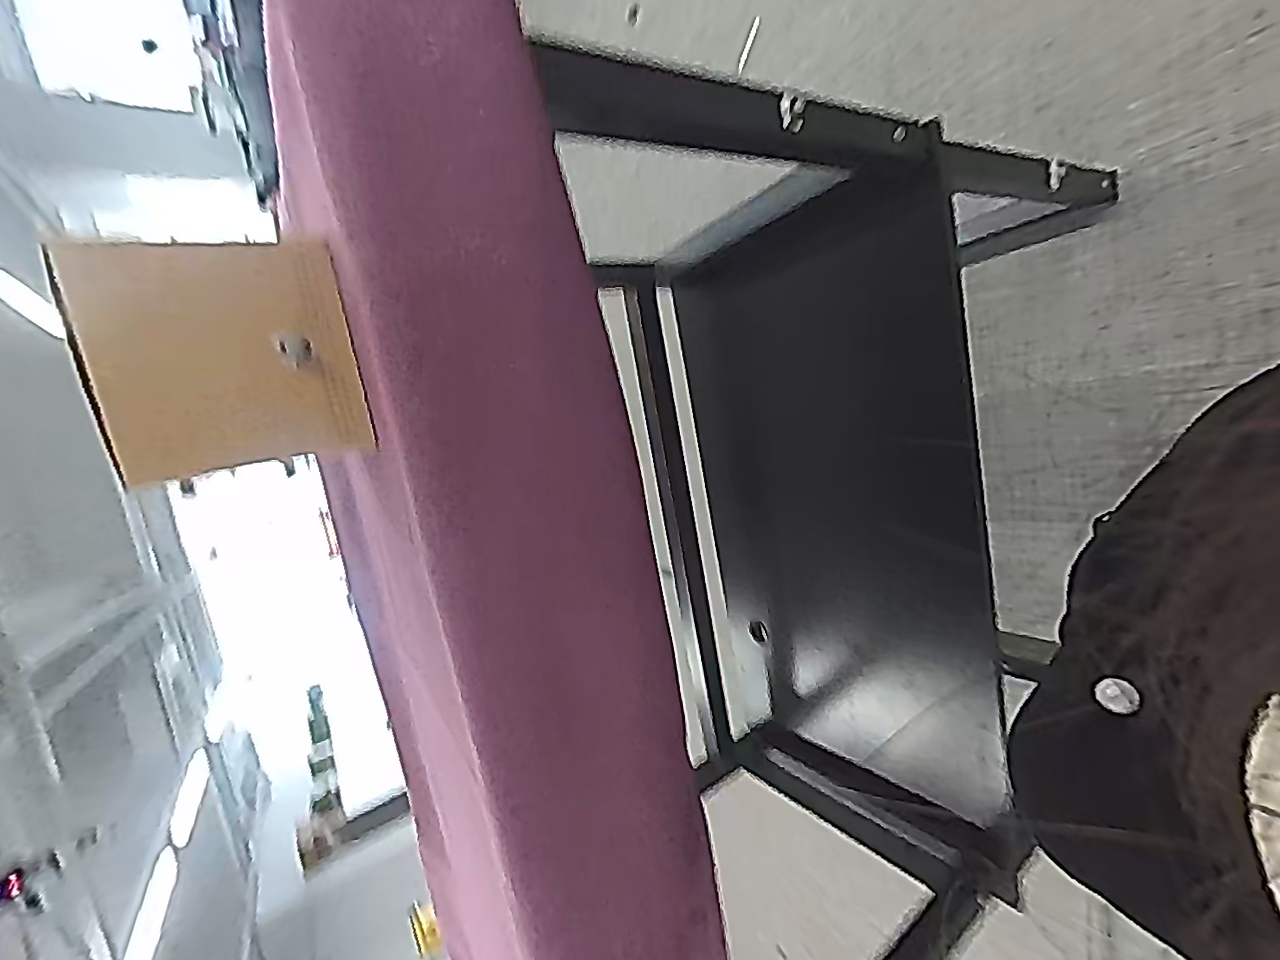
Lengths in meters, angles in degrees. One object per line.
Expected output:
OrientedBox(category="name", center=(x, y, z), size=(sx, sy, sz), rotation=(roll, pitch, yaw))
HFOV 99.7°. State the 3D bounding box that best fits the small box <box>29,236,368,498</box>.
OrientedBox(category="small box", center=(-0.353, -0.092, 0.466), size=(0.168, 0.176, 0.179), rotation=(4, 106, 58))
